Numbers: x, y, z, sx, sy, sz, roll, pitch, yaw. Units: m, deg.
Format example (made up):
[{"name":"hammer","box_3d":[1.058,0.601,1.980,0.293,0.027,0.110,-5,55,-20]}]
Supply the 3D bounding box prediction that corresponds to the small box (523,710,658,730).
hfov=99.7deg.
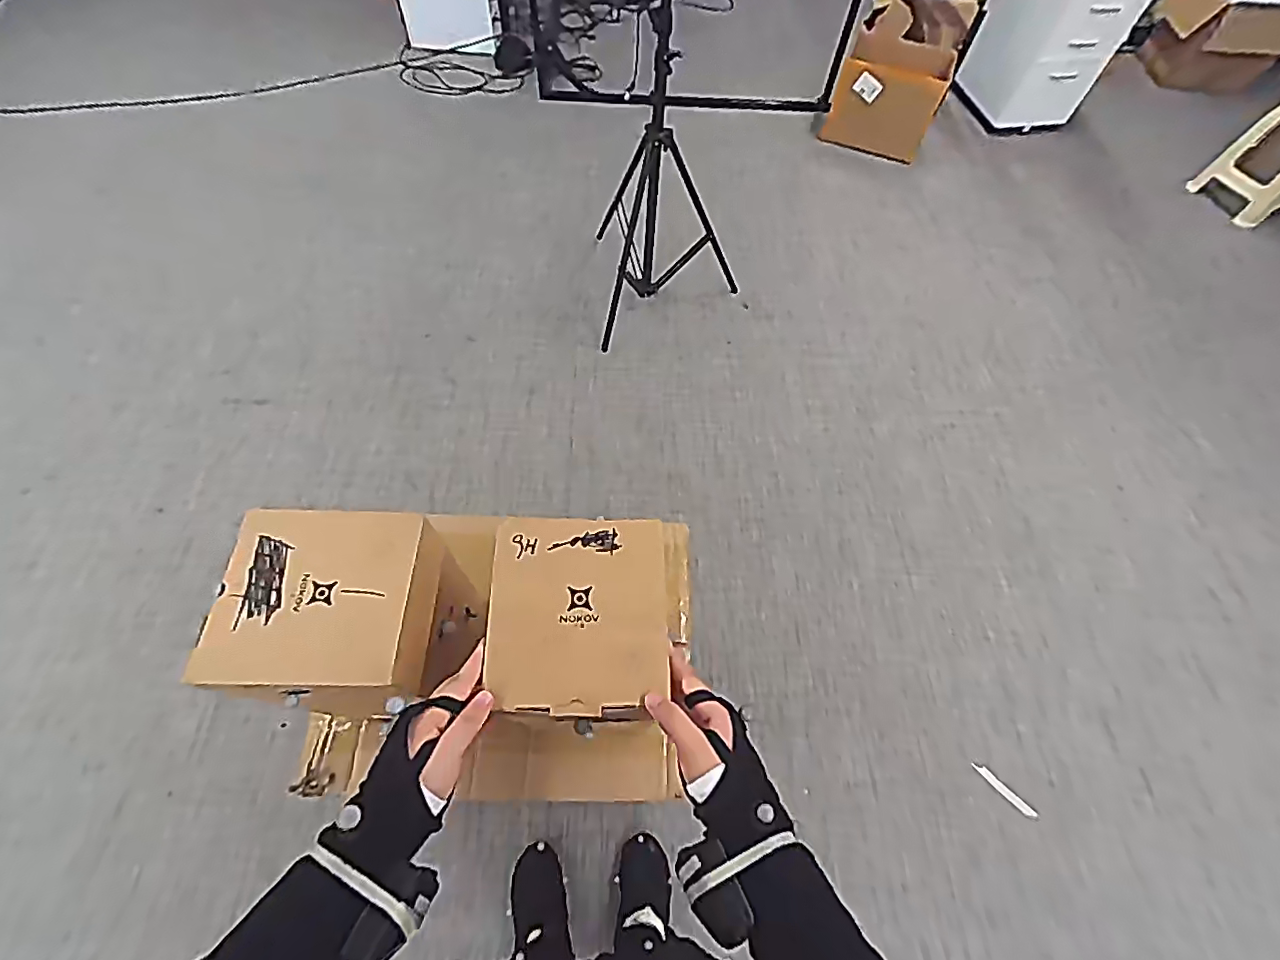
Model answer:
[{"name":"small box","box_3d":[-0.062,0.233,0.726,0.168,0.176,0.179,1,62,0]}]

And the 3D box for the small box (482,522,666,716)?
[{"name":"small box","box_3d":[-0.059,0.156,0.578,0.168,0.176,0.179,-1,65,-2]}]

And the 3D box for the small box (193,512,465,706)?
[{"name":"small box","box_3d":[-0.305,0.145,0.578,0.179,0.176,0.168,1,62,-3]}]

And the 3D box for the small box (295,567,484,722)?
[{"name":"small box","box_3d":[-0.314,0.221,0.723,0.168,0.176,0.179,1,63,-2]}]
